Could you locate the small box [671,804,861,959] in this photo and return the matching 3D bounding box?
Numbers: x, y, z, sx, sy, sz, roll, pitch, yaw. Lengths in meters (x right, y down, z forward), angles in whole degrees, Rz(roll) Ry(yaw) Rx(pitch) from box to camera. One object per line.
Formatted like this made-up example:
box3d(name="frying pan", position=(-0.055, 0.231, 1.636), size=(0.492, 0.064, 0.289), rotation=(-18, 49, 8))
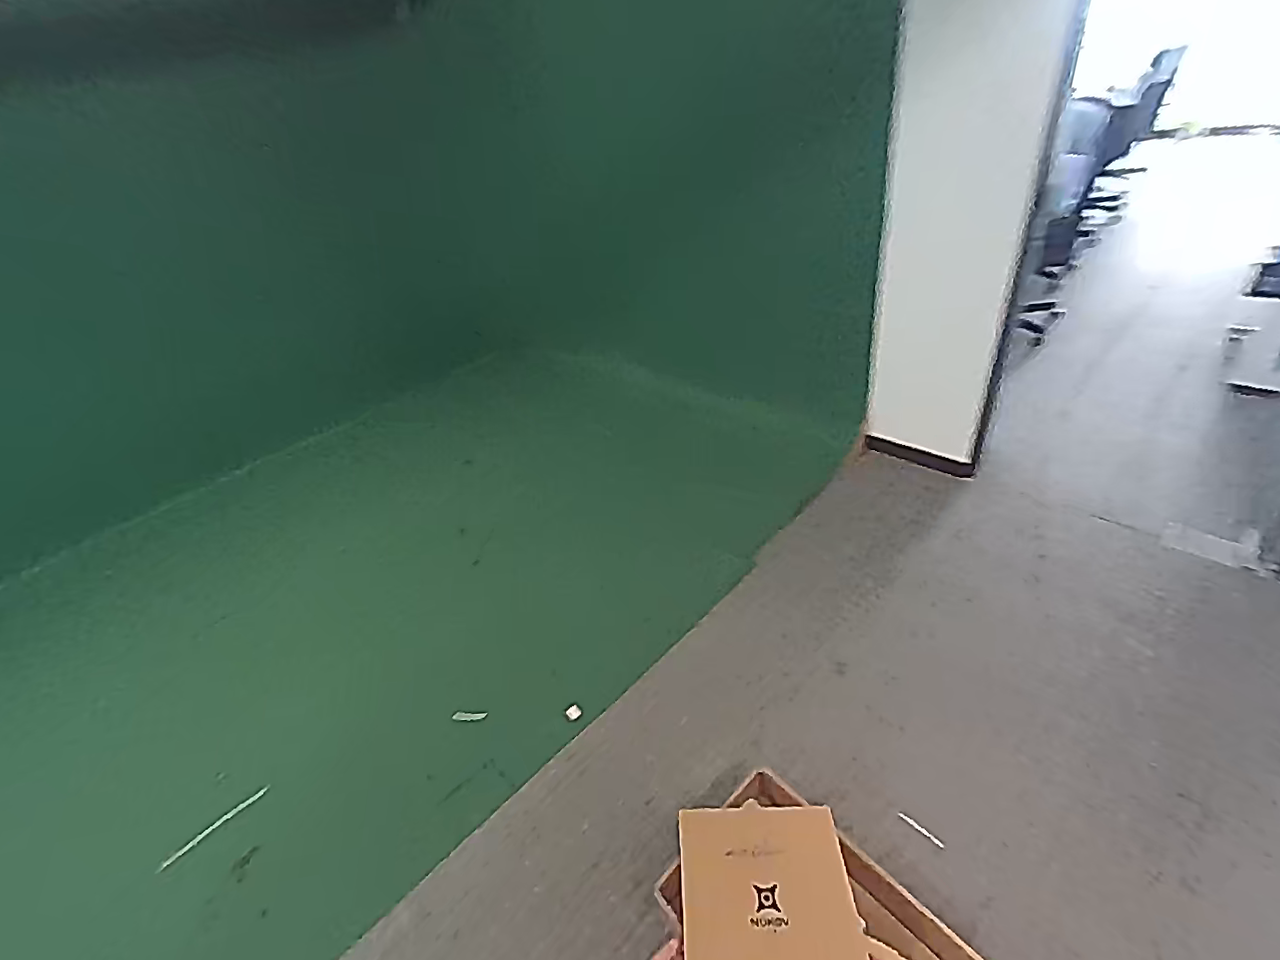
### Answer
box3d(name="small box", position=(0.119, 0.465, 0.554), size=(0.168, 0.176, 0.179), rotation=(-2, 33, 2))
